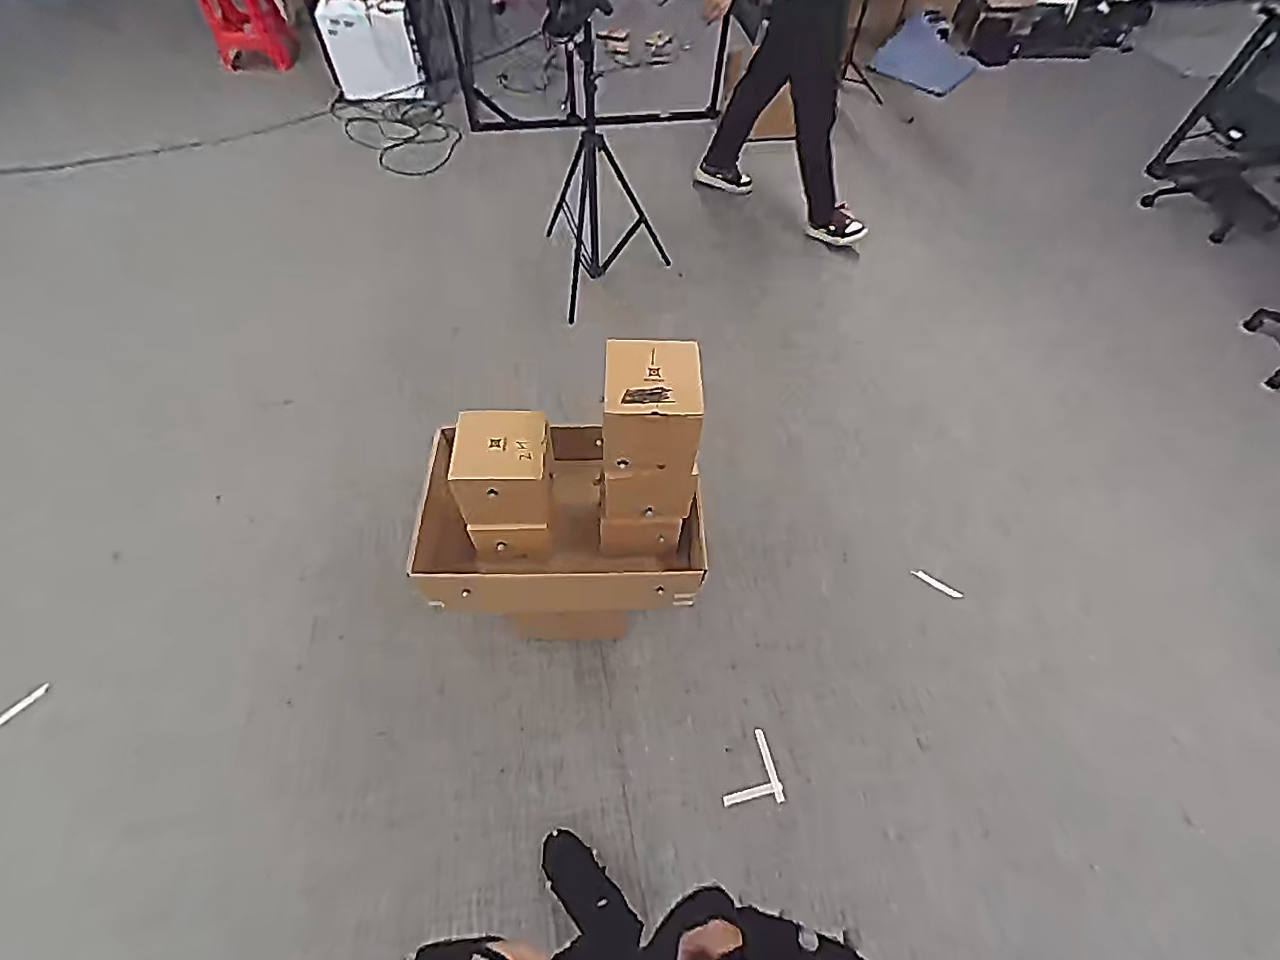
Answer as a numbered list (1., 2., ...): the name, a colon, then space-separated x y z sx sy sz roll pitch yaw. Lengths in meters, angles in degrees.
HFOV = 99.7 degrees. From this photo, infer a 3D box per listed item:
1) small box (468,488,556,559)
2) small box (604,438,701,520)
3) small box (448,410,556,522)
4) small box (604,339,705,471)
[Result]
1. small box: -0.280 0.072 1.225 0.168 0.176 0.179 -1 57 -5
2. small box: 0.017 -0.029 1.106 0.179 0.176 0.168 -2 57 -5
3. small box: -0.268 -0.024 1.091 0.179 0.176 0.168 0 57 -4
4. small box: 0.023 -0.131 0.976 0.168 0.176 0.179 1 57 -2
